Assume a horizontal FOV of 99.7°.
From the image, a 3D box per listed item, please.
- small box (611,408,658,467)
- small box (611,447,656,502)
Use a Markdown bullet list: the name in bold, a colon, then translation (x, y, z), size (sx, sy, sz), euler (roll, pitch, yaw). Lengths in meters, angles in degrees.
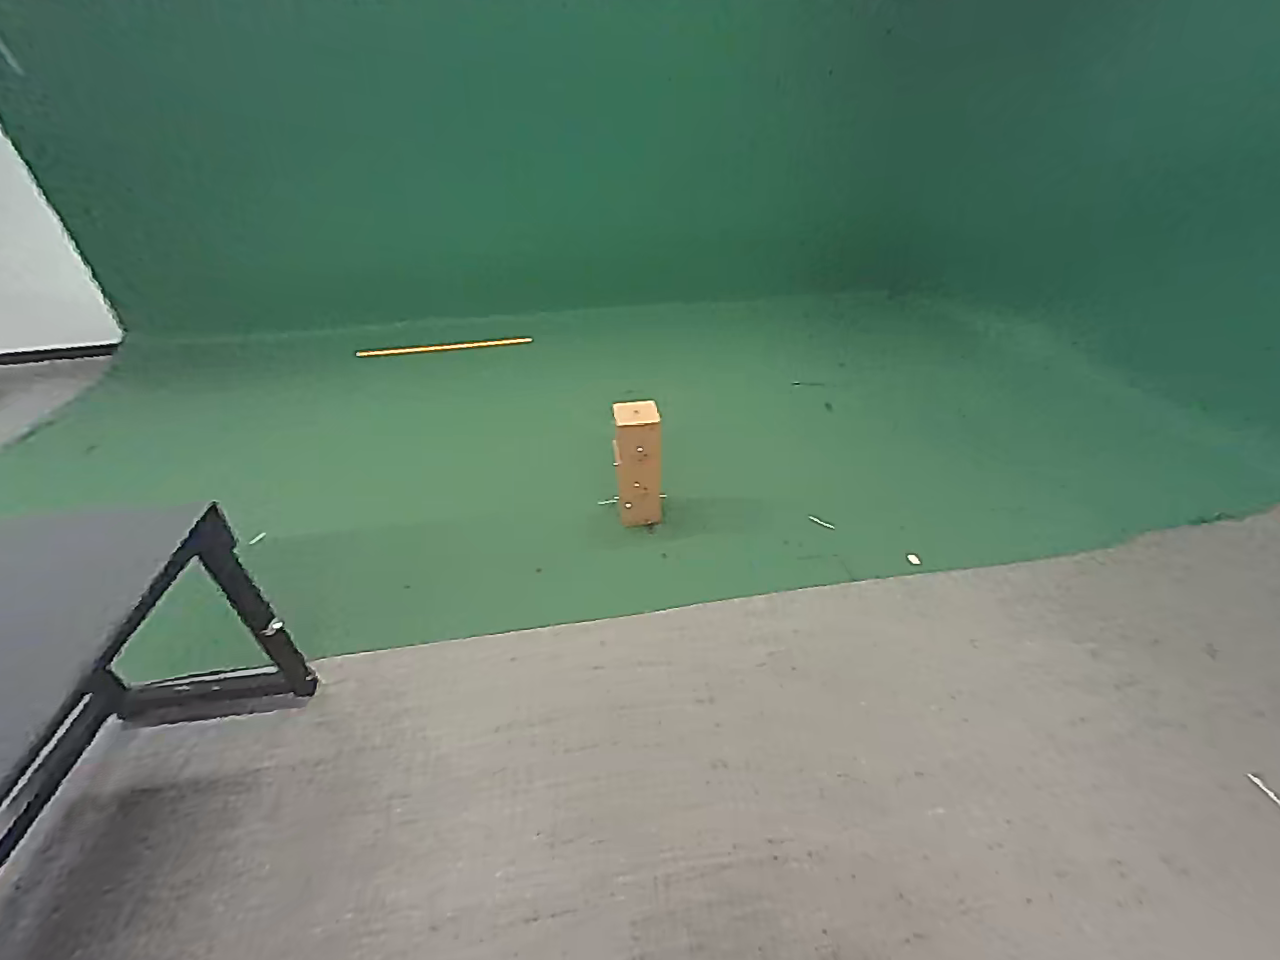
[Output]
- **small box**: translation (-0.025, -0.169, 2.141), size (0.168, 0.176, 0.179), euler (-5, 35, -6)
- **small box**: translation (-0.030, -0.031, 2.231), size (0.168, 0.176, 0.179), euler (-6, 35, -8)
